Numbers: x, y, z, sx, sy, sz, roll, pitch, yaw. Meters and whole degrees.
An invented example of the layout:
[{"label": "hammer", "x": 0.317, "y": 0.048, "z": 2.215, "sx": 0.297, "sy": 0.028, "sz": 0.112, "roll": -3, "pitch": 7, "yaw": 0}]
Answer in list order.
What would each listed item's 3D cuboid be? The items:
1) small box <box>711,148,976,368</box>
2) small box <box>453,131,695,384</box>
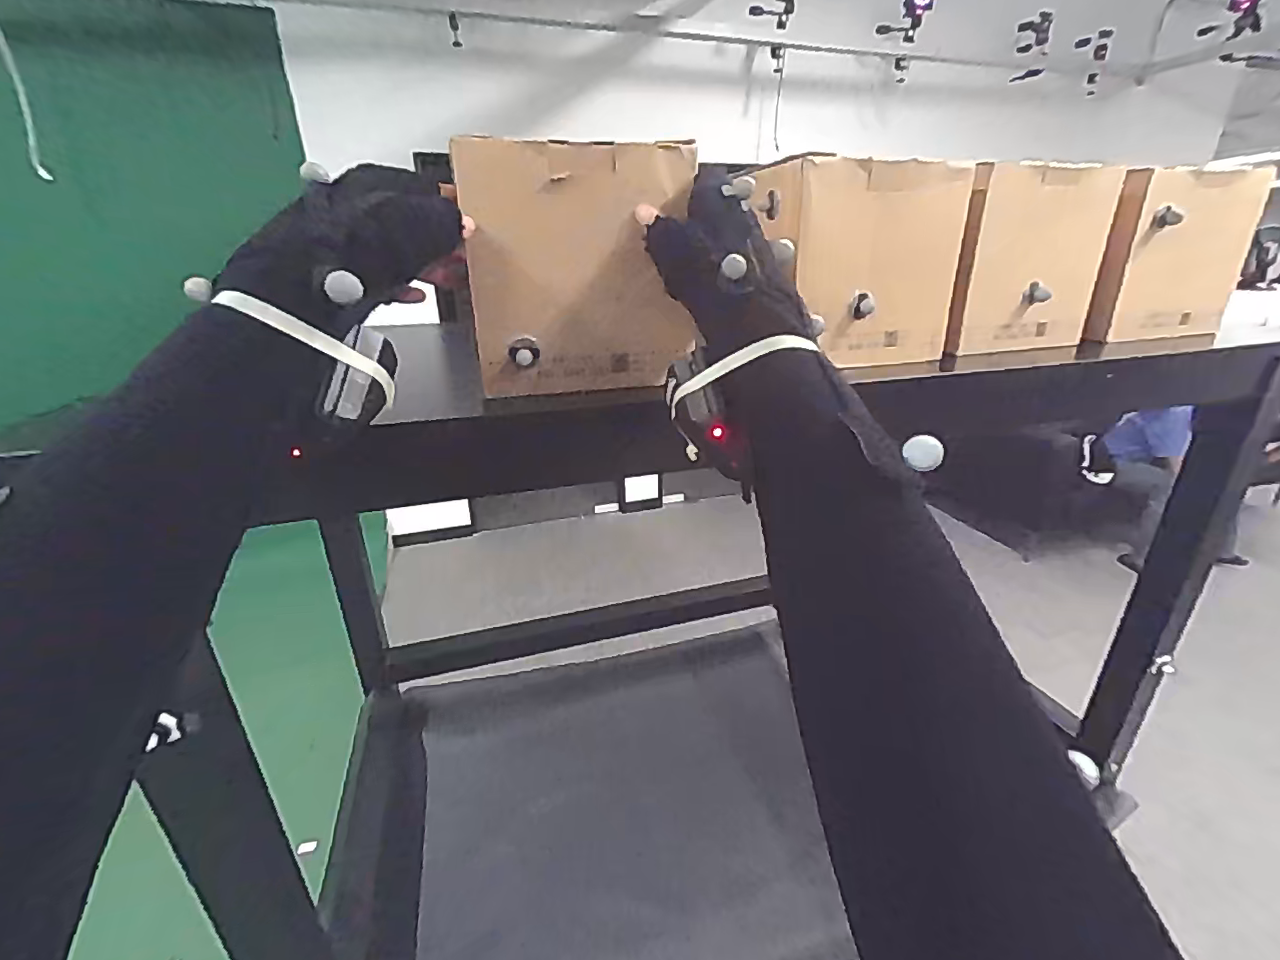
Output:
[{"label": "small box", "x": 0.177, "y": -0.207, "z": 0.530, "sx": 0.168, "sy": 0.176, "sz": 0.179, "roll": -7, "pitch": 23, "yaw": -16}, {"label": "small box", "x": -0.058, "y": -0.177, "z": 0.459, "sx": 0.168, "sy": 0.176, "sz": 0.179, "roll": -7, "pitch": 21, "yaw": -15}]
